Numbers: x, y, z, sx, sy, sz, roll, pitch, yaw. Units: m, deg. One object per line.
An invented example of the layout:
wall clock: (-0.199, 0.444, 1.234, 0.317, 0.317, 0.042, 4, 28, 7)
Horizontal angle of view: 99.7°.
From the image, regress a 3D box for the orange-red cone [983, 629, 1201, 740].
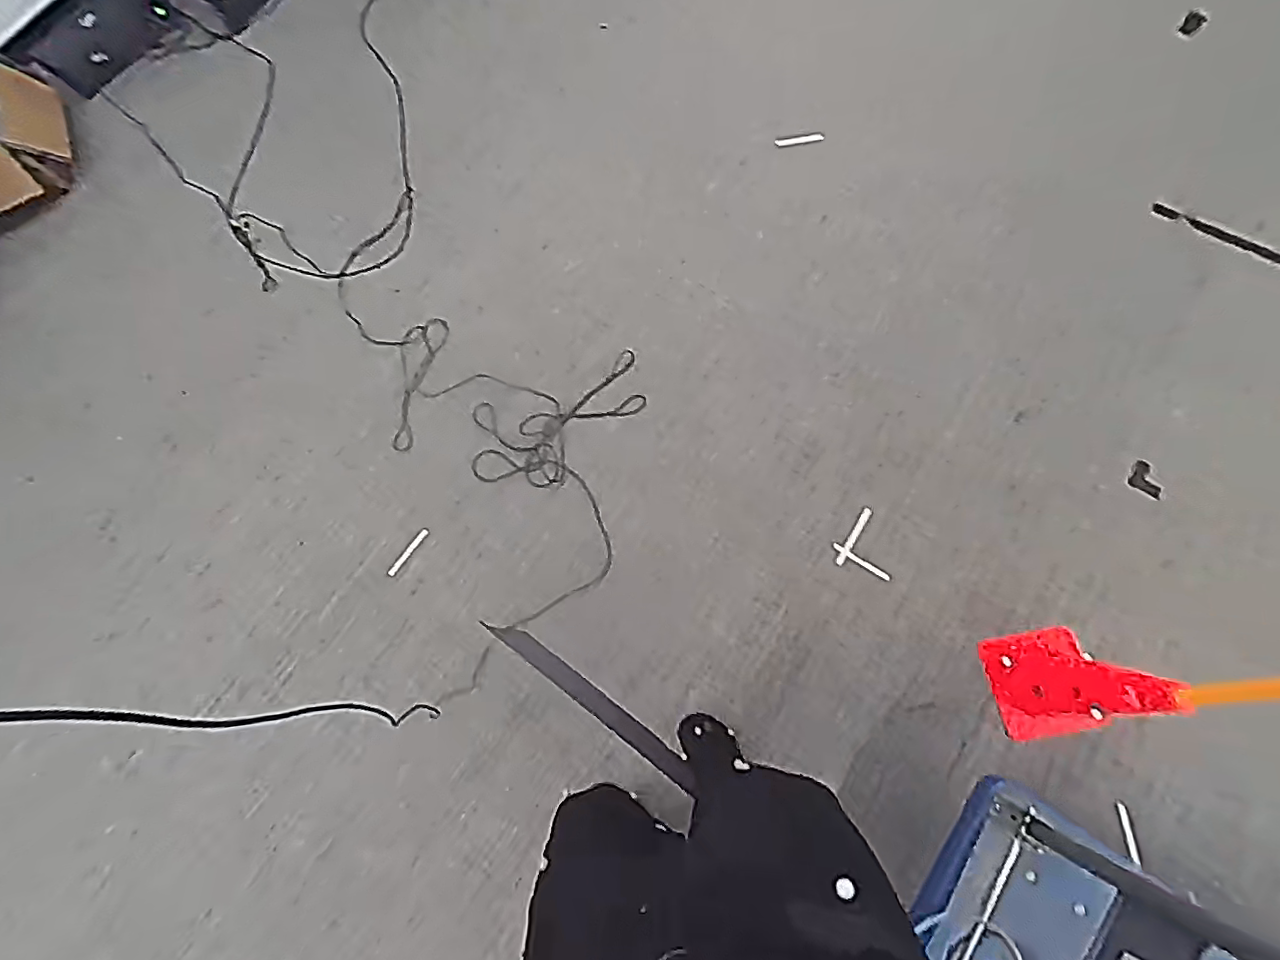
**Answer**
orange-red cone: (0.812, 0.370, 0.949, 0.198, 0.360, 0.199, -11, 73, 3)
